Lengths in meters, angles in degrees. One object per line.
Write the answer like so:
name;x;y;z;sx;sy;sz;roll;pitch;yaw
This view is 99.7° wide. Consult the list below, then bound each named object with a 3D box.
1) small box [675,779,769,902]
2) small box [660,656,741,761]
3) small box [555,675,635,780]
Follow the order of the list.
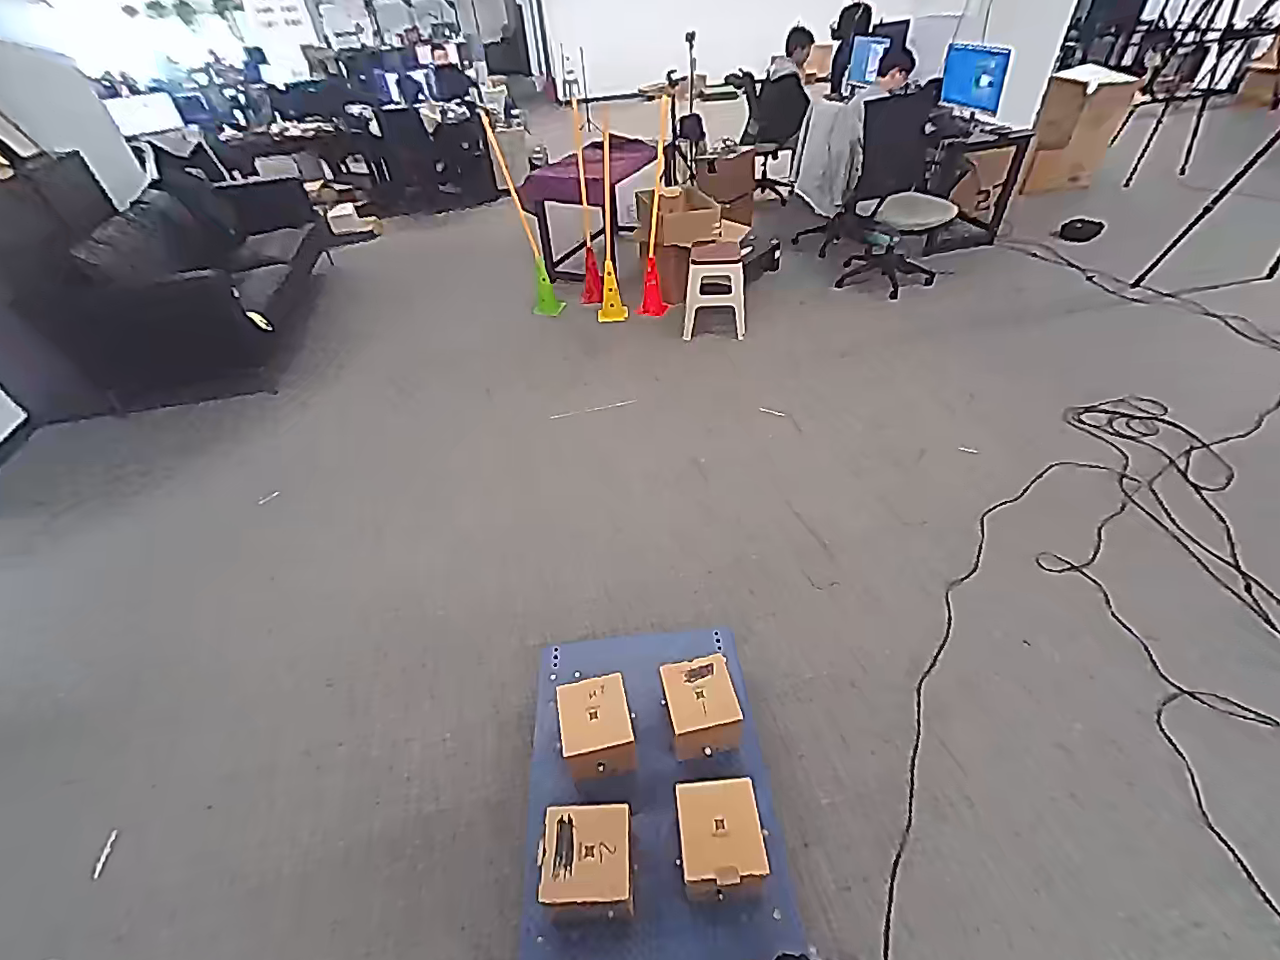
small box;0.165;0.767;1.150;0.168;0.176;0.179;-5;43;-1
small box;0.145;0.575;1.361;0.168;0.176;0.179;-10;44;-6
small box;-0.110;0.617;1.335;0.168;0.176;0.179;-10;42;-7
